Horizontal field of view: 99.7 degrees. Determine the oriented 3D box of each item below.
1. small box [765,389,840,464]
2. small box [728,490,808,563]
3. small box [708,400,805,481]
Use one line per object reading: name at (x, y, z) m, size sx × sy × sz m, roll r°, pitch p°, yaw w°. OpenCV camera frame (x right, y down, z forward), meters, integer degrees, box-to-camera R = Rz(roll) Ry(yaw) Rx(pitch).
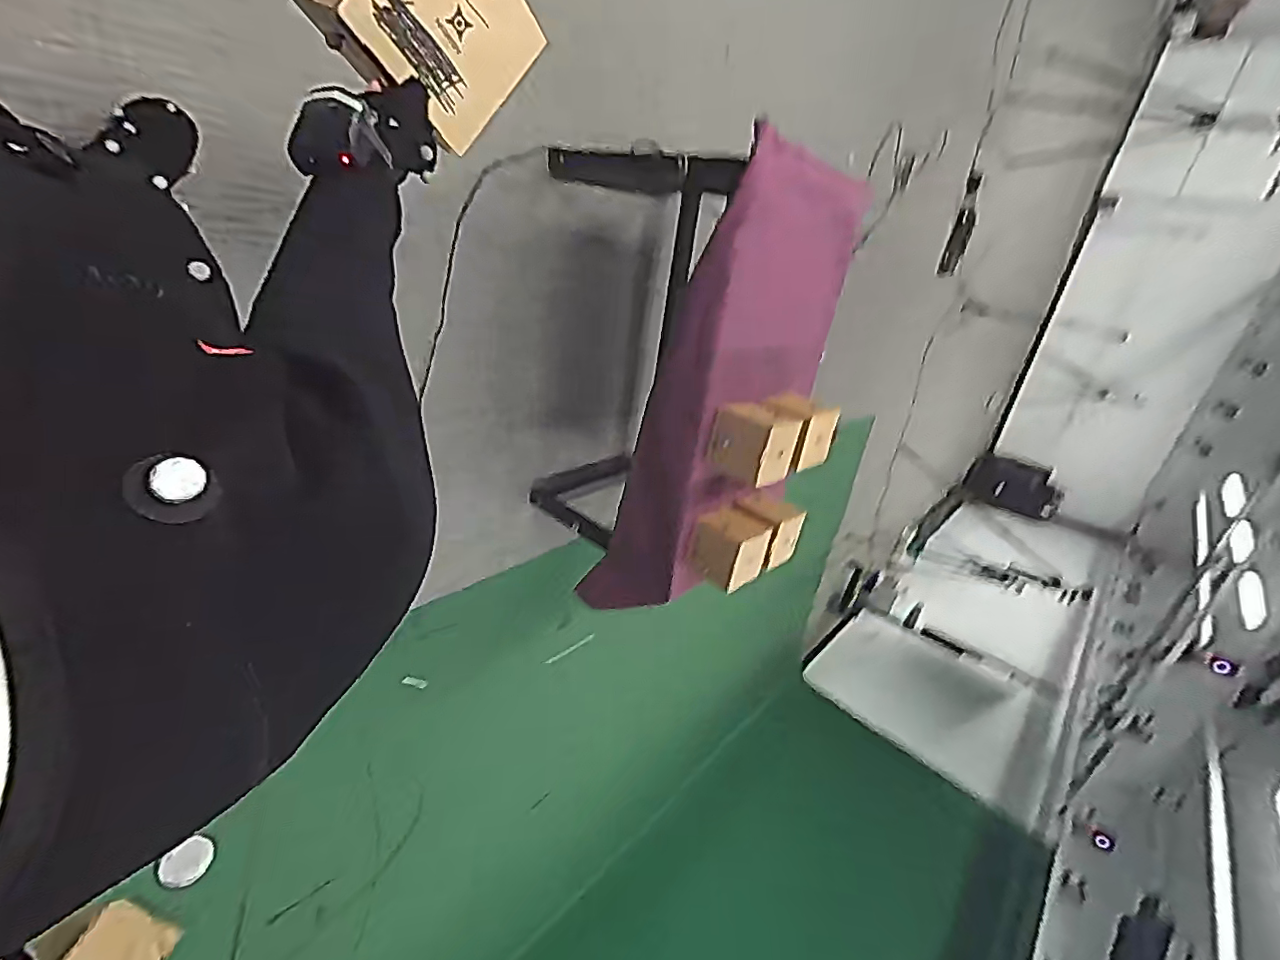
small box at (0.468, -0.166, 1.627) m, size 0.179 × 0.176 × 0.168 m, roll -20°, pitch 127°, yaw -43°
small box at (0.412, 0.145, 1.754) m, size 0.179 × 0.176 × 0.168 m, roll -11°, pitch 121°, yaw -47°
small box at (0.314, -0.114, 1.466) m, size 0.179 × 0.176 × 0.168 m, roll -14°, pitch 122°, yaw -46°
